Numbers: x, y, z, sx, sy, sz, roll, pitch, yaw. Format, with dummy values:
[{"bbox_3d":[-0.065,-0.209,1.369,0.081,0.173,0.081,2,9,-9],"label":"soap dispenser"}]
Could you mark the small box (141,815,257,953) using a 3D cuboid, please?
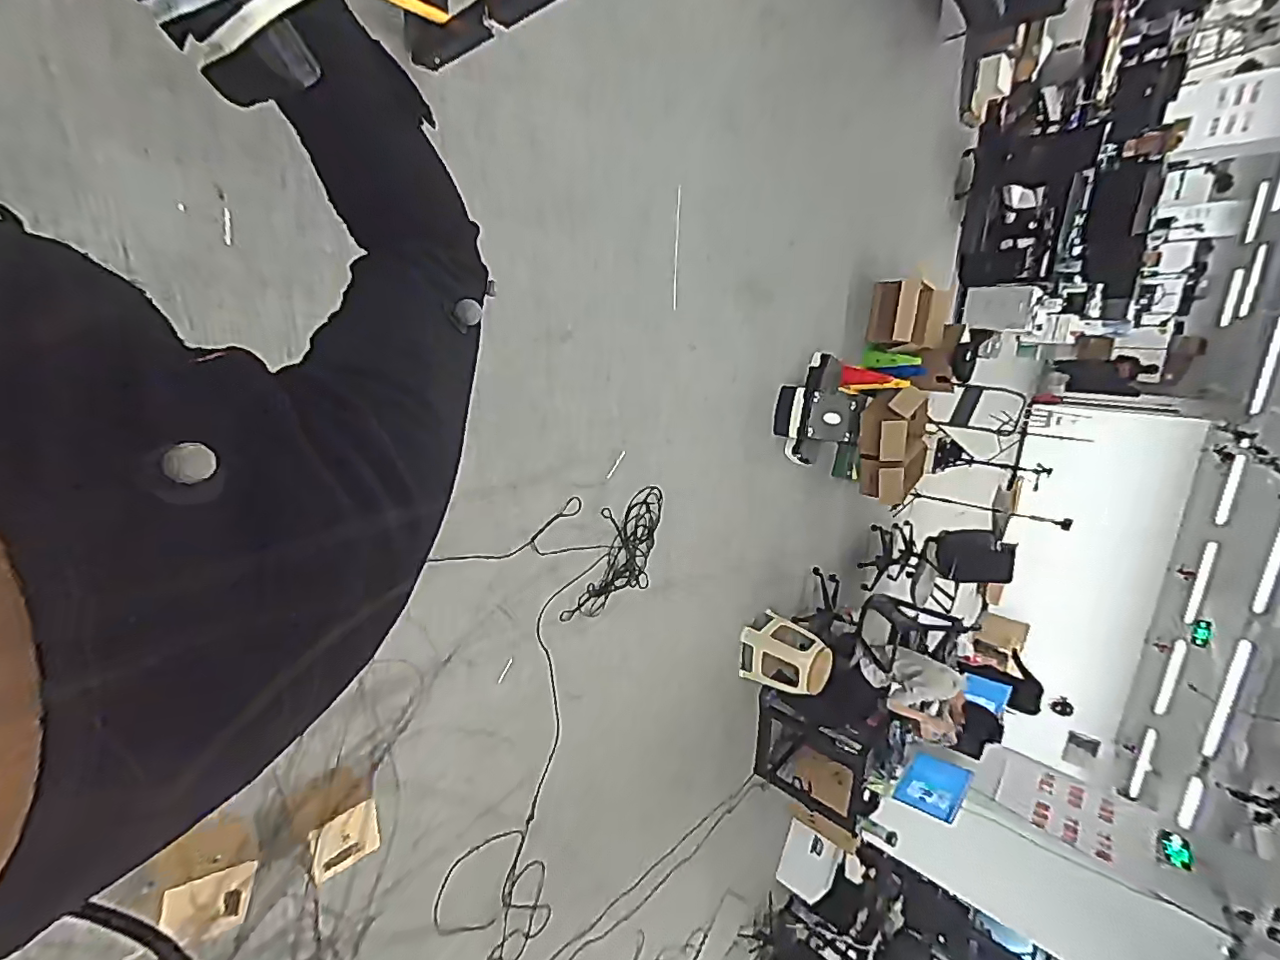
[{"bbox_3d":[-1.051,0.944,1.288,0.179,0.176,0.168,8,94,-49],"label":"small box"}]
